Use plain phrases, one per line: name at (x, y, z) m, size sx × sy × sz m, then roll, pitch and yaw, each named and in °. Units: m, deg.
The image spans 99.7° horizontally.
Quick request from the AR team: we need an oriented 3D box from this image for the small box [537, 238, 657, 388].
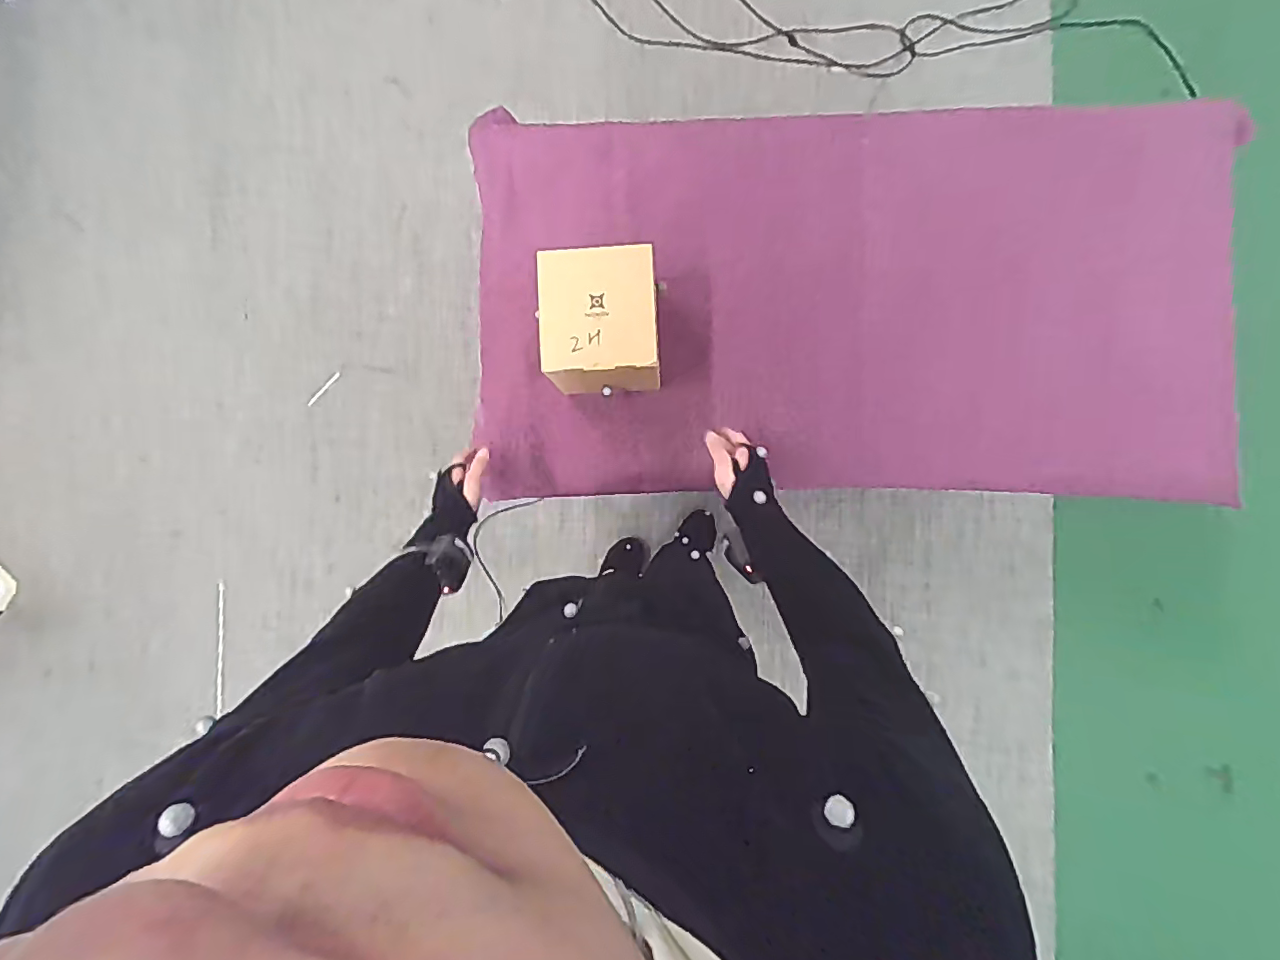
small box at (-0.059, -0.247, 0.834) m, size 0.168 × 0.176 × 0.179 m, roll -2°, pitch 89°, yaw 3°
